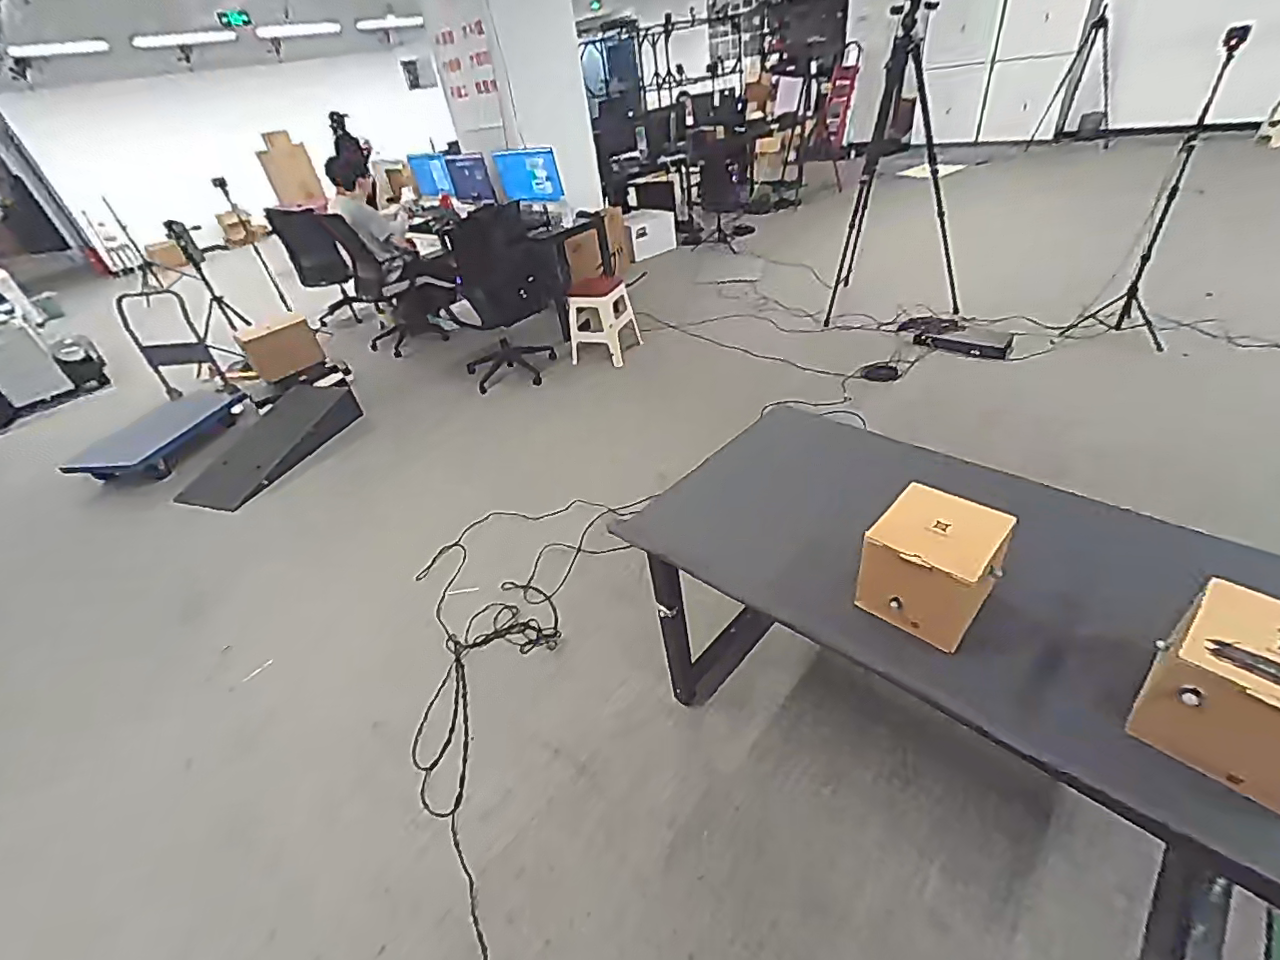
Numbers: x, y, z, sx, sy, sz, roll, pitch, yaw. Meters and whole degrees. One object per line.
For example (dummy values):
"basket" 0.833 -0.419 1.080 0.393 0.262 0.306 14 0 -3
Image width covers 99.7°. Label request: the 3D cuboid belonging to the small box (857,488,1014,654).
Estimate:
"small box" 0.484 0.149 0.906 0.168 0.176 0.179 27 49 38
